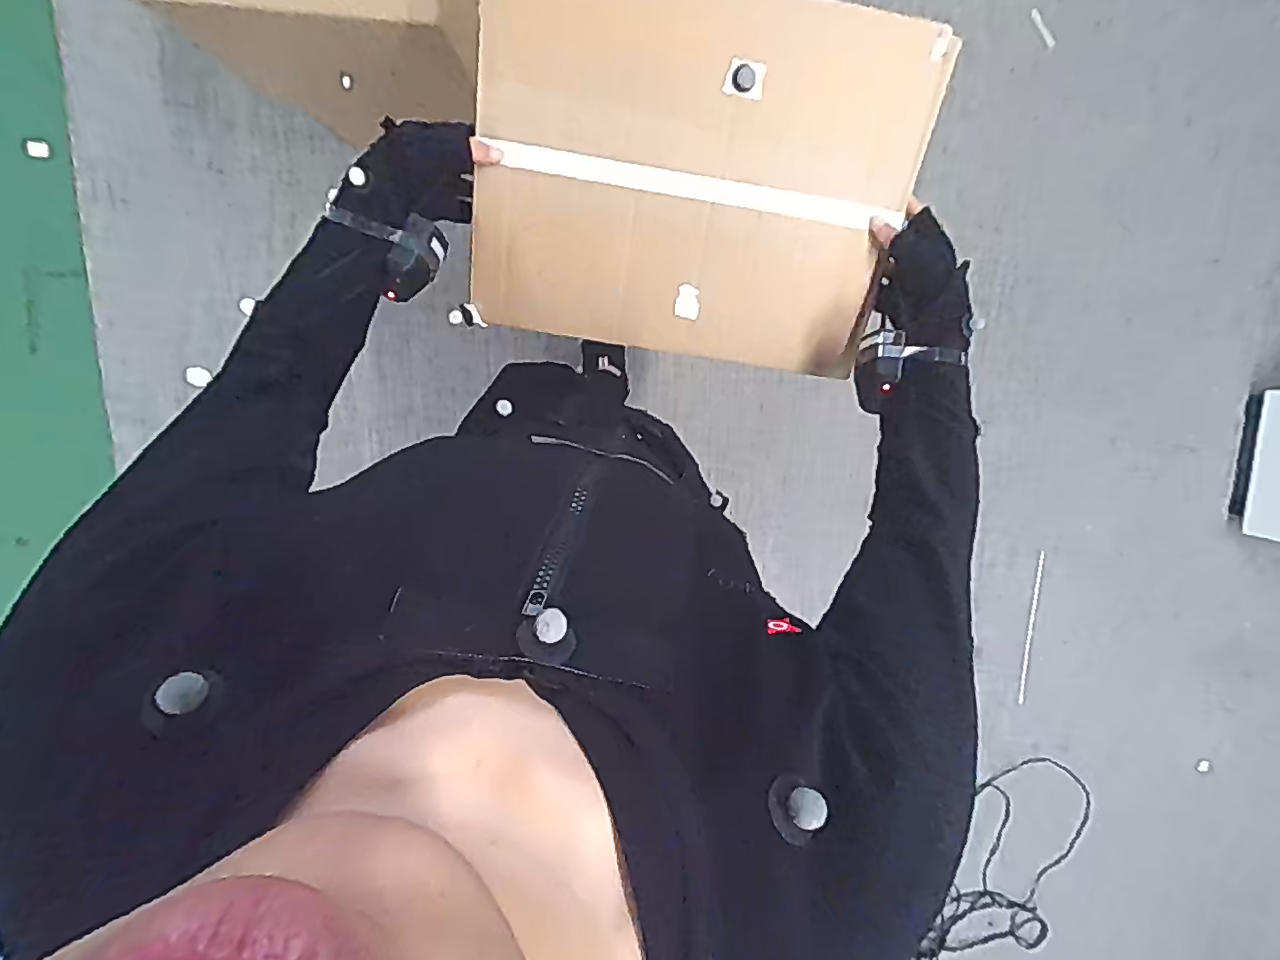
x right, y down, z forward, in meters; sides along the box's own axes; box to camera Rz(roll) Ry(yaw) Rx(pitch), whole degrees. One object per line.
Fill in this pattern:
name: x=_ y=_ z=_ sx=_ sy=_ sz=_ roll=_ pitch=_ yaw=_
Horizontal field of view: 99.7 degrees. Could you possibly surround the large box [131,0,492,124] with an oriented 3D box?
large box: x=-0.464 y=-0.786 z=0.829 sx=0.408 sy=0.320 sz=0.320 roll=3 pitch=102 yaw=-2
